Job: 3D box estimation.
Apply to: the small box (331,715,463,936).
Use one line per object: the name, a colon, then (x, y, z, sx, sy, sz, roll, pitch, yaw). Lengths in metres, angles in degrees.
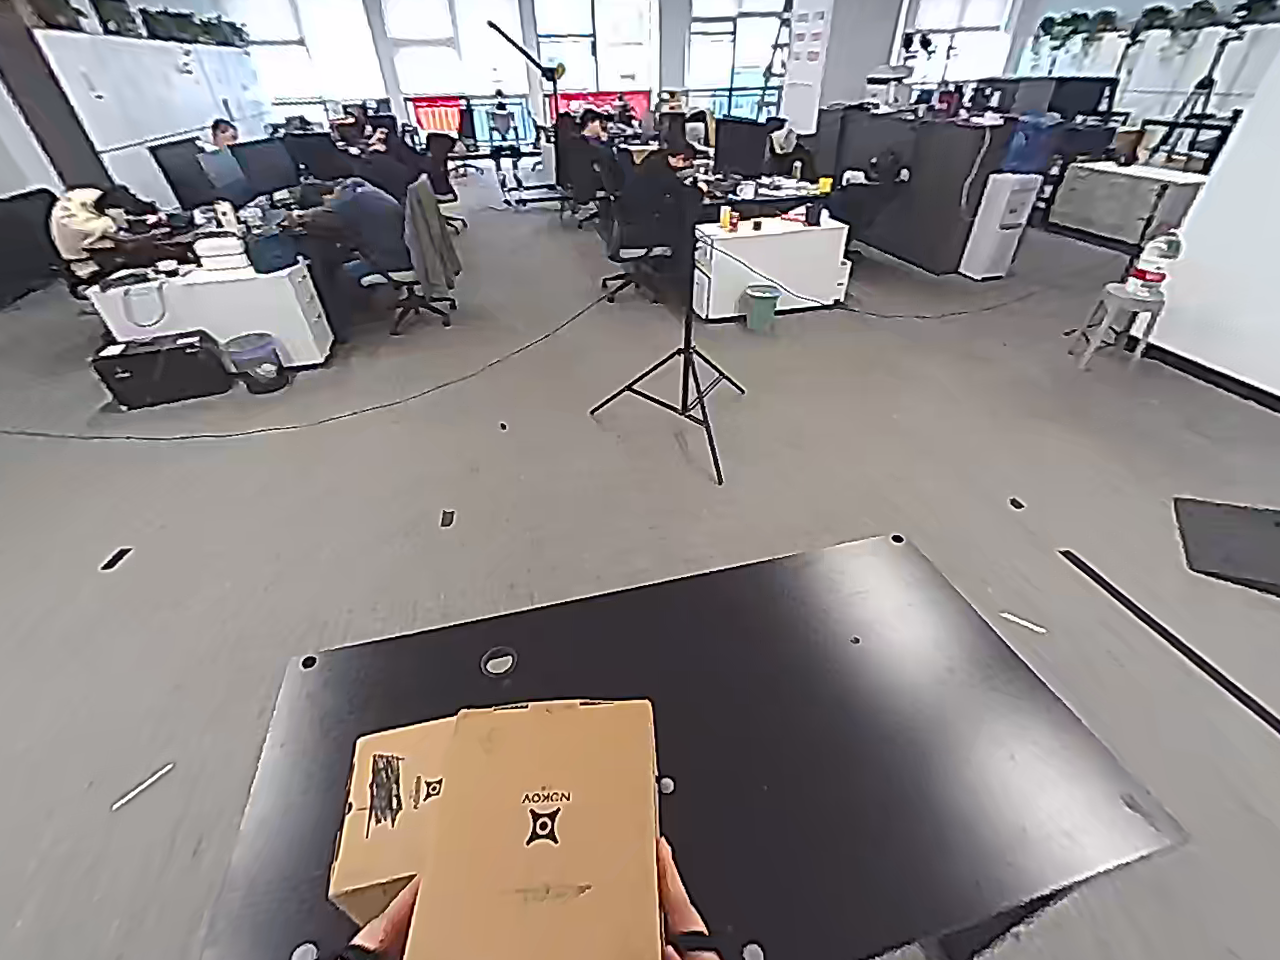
small box: (-0.238, 0.414, 0.659, 0.179, 0.176, 0.168, -8, 38, -10)

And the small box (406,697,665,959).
small box: (-0.065, 0.307, 0.453, 0.168, 0.176, 0.179, -3, 42, 1)
